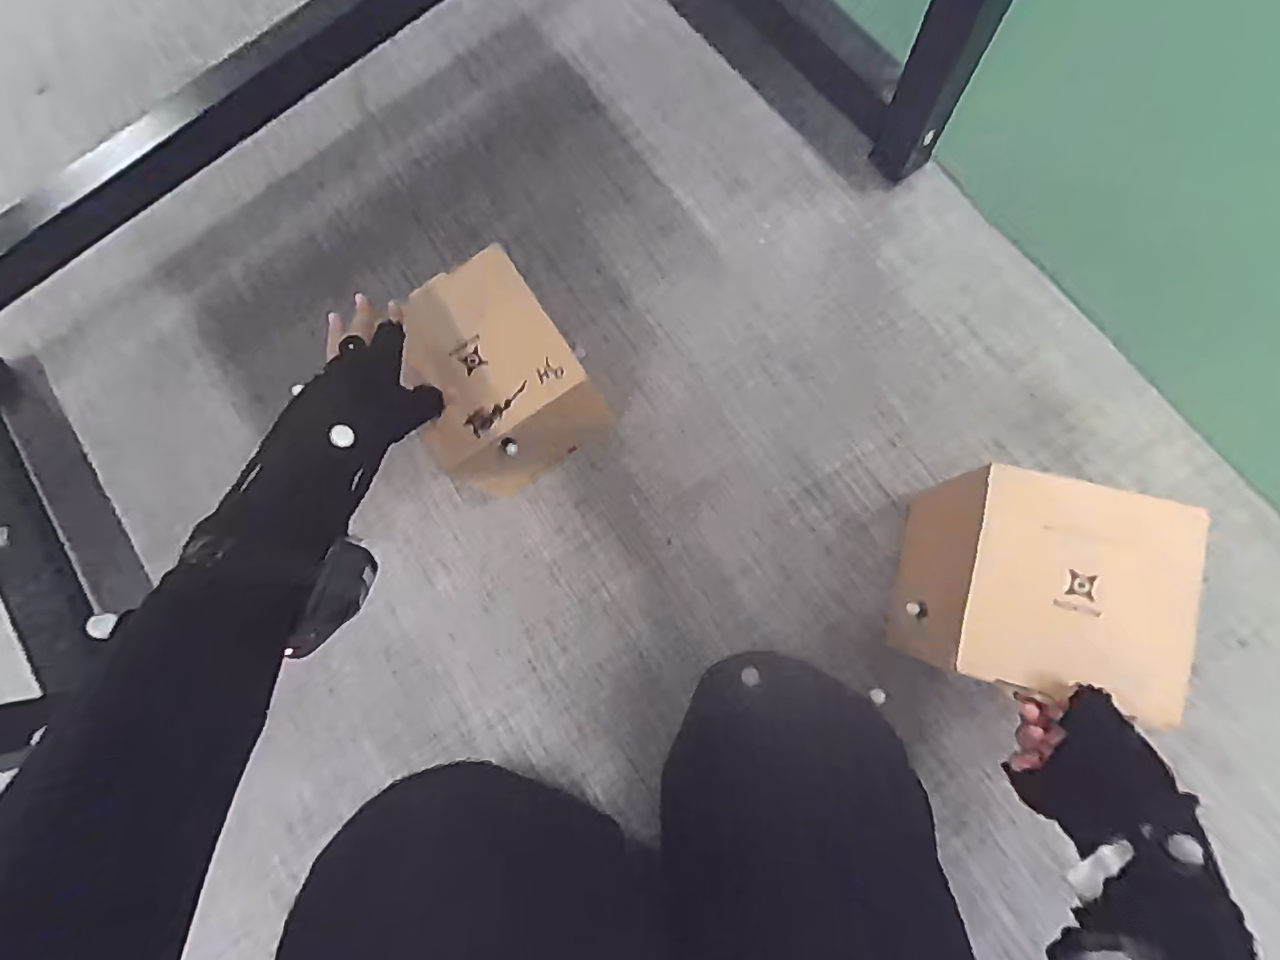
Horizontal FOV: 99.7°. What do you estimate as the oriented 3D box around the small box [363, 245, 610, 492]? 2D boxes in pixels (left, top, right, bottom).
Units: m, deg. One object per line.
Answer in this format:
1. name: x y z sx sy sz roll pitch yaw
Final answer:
1. small box: -0.154 -0.107 0.595 0.168 0.176 0.179 -34 77 1
